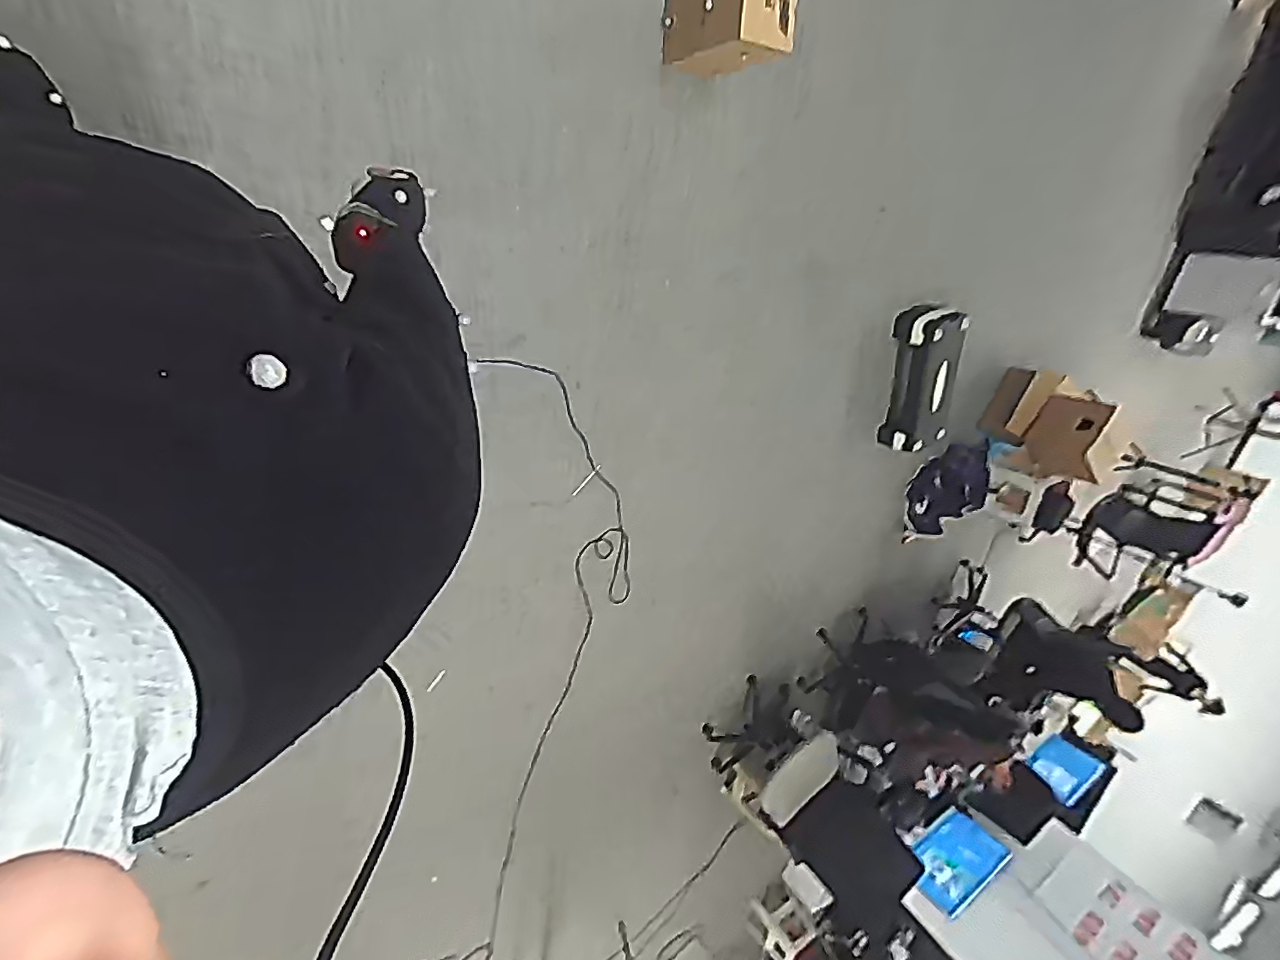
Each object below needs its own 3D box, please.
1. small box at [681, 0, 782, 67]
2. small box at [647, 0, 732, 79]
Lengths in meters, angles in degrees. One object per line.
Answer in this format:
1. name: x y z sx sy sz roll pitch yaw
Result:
1. small box: 0.226 -1.148 1.337 0.179 0.176 0.168 -14 119 -31
2. small box: 0.140 -1.210 1.463 0.179 0.176 0.168 -13 119 -30
